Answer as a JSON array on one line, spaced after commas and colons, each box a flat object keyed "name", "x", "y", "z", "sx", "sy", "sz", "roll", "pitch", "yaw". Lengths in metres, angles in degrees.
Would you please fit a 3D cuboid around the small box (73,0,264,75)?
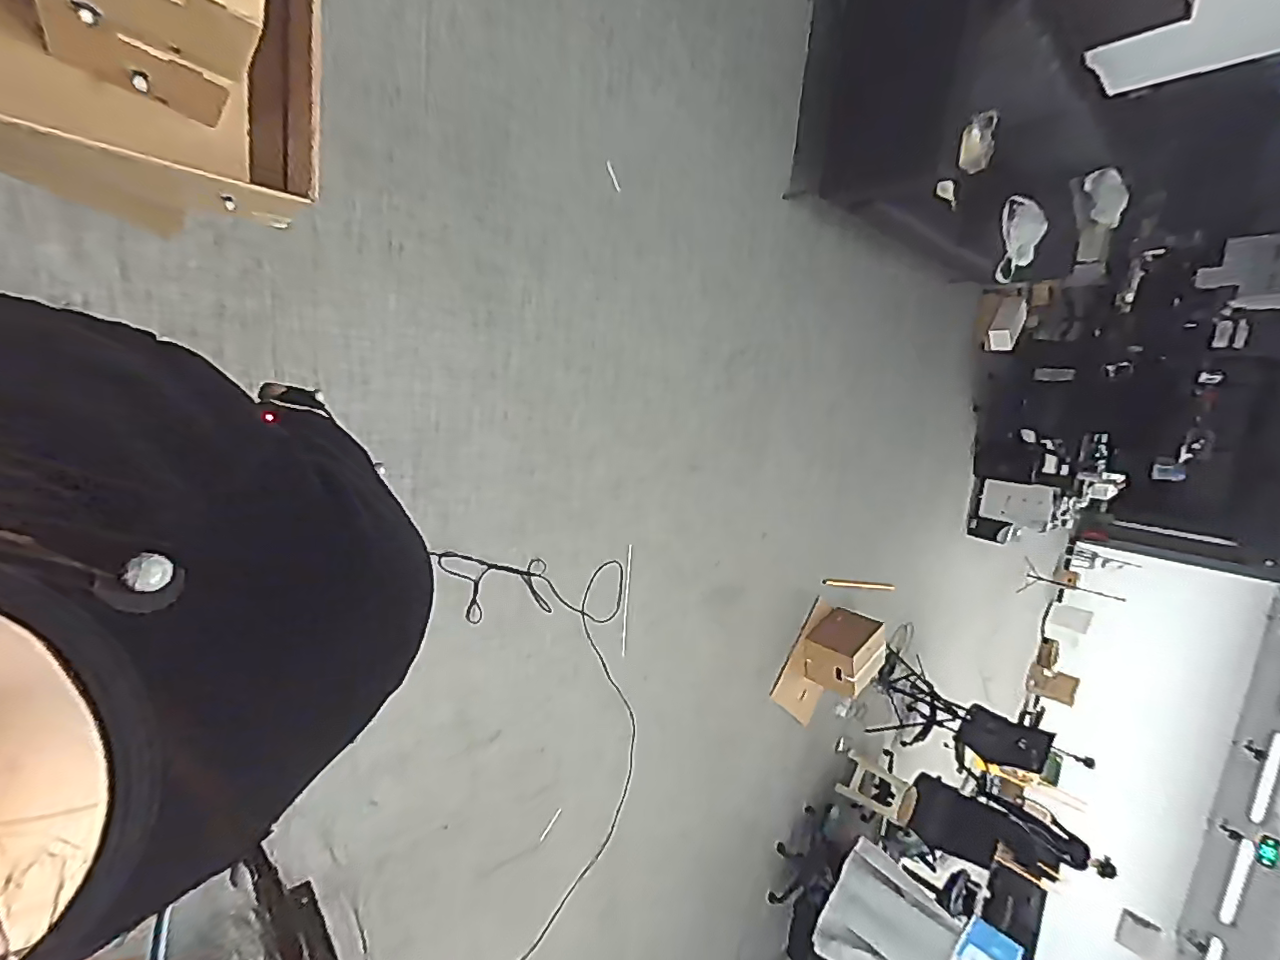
[{"name": "small box", "x": -0.477, "y": -0.555, "z": 0.536, "sx": 0.168, "sy": 0.176, "sz": 0.179, "roll": 2, "pitch": 98, "yaw": -43}]
